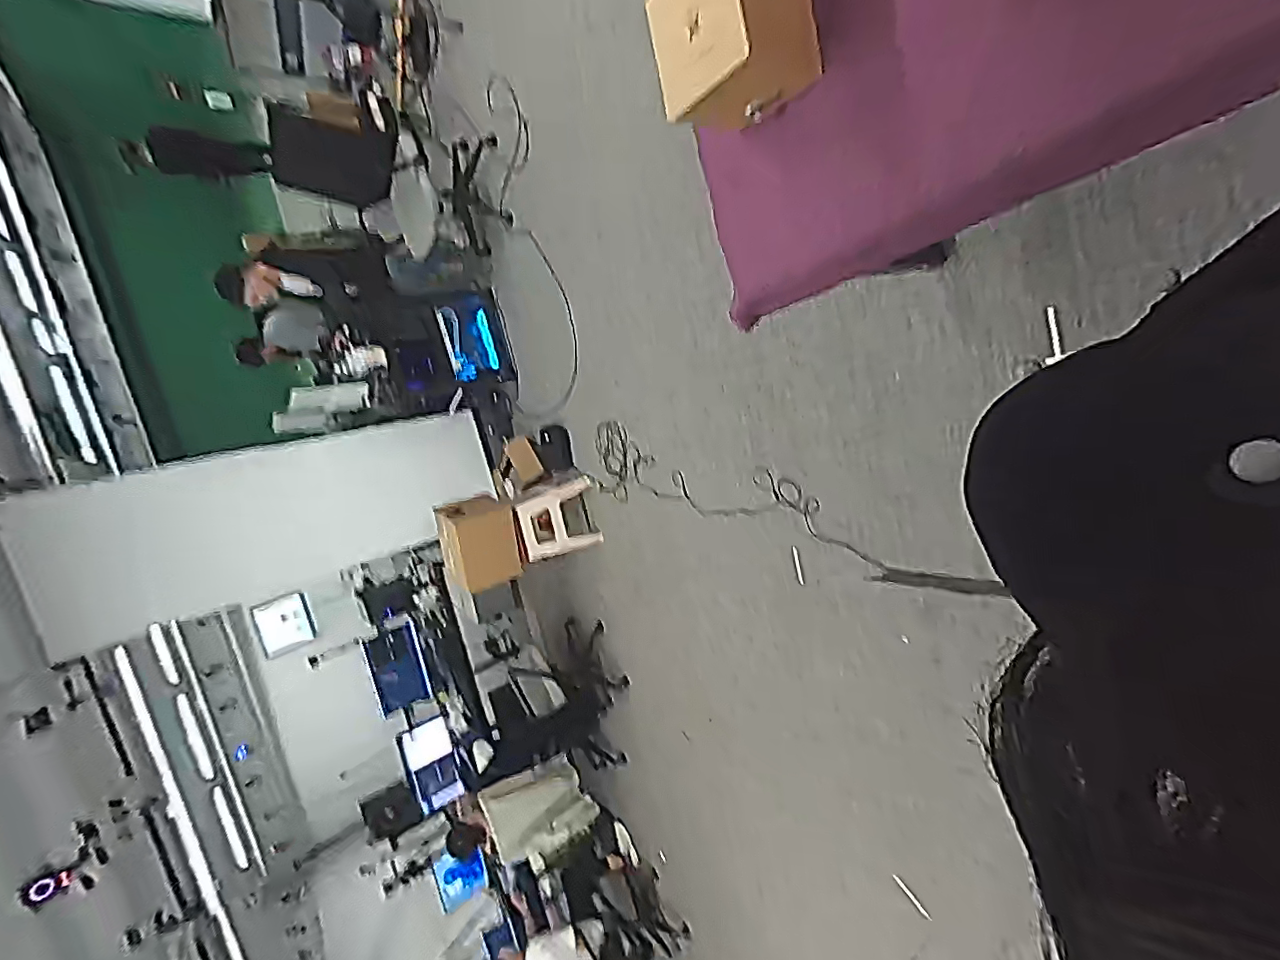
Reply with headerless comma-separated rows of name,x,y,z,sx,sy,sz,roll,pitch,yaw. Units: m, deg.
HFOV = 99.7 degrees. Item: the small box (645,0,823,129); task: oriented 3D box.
small box,0.138,-0.645,0.784,0.168,0.176,0.179,-2,105,55
